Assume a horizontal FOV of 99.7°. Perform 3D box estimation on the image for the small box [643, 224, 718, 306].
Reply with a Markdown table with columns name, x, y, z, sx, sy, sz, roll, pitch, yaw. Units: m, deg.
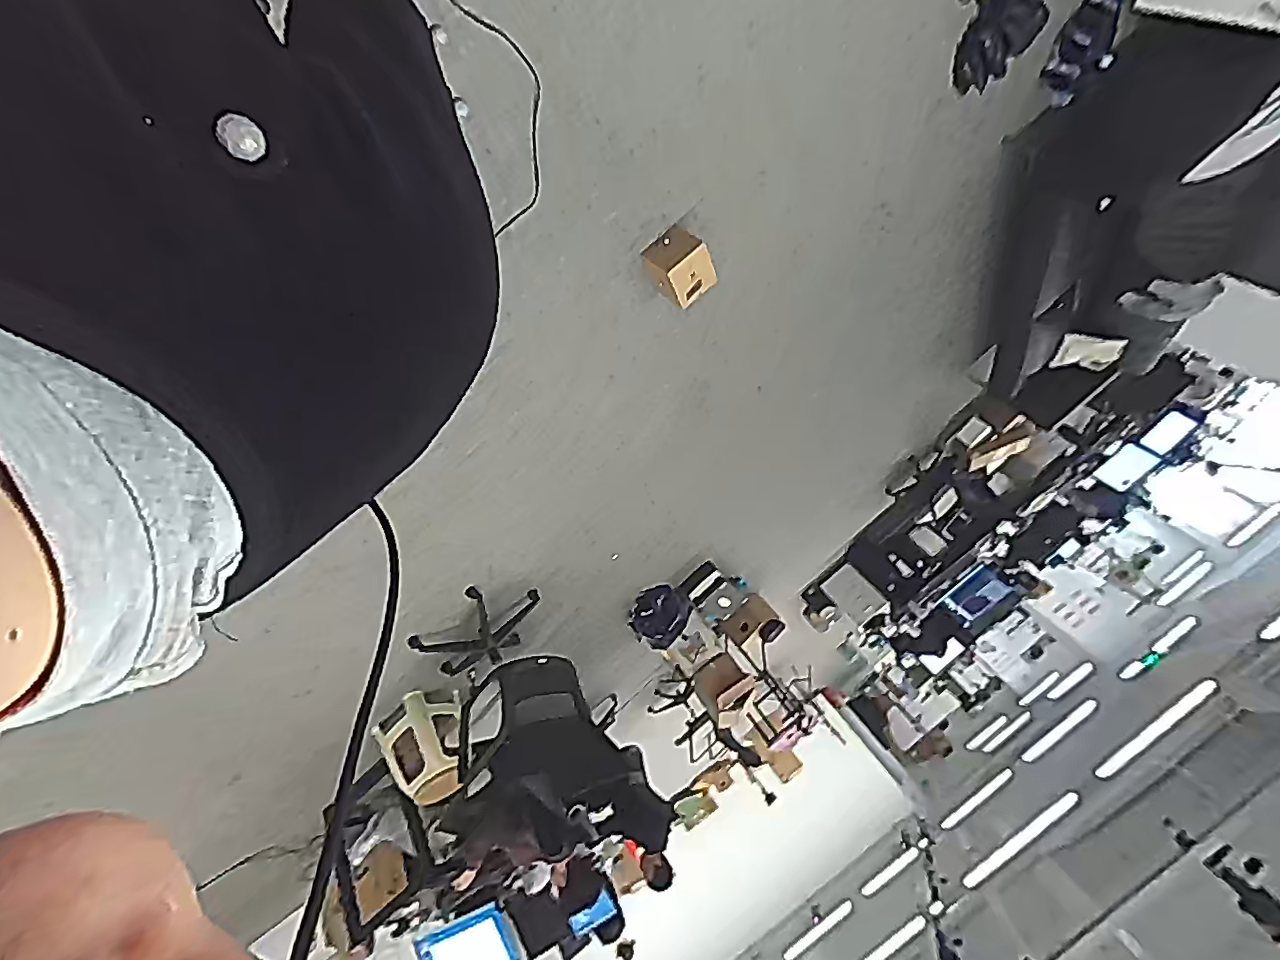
| name | x | y | z | sx | sy | sz | roll | pitch | yaw |
| --- | --- | --- | --- | --- | --- | --- | --- | --- | --- |
| small box | 0.140 | -0.746 | 1.871 | 0.168 | 0.176 | 0.179 | -41 | 145 | 0 |
